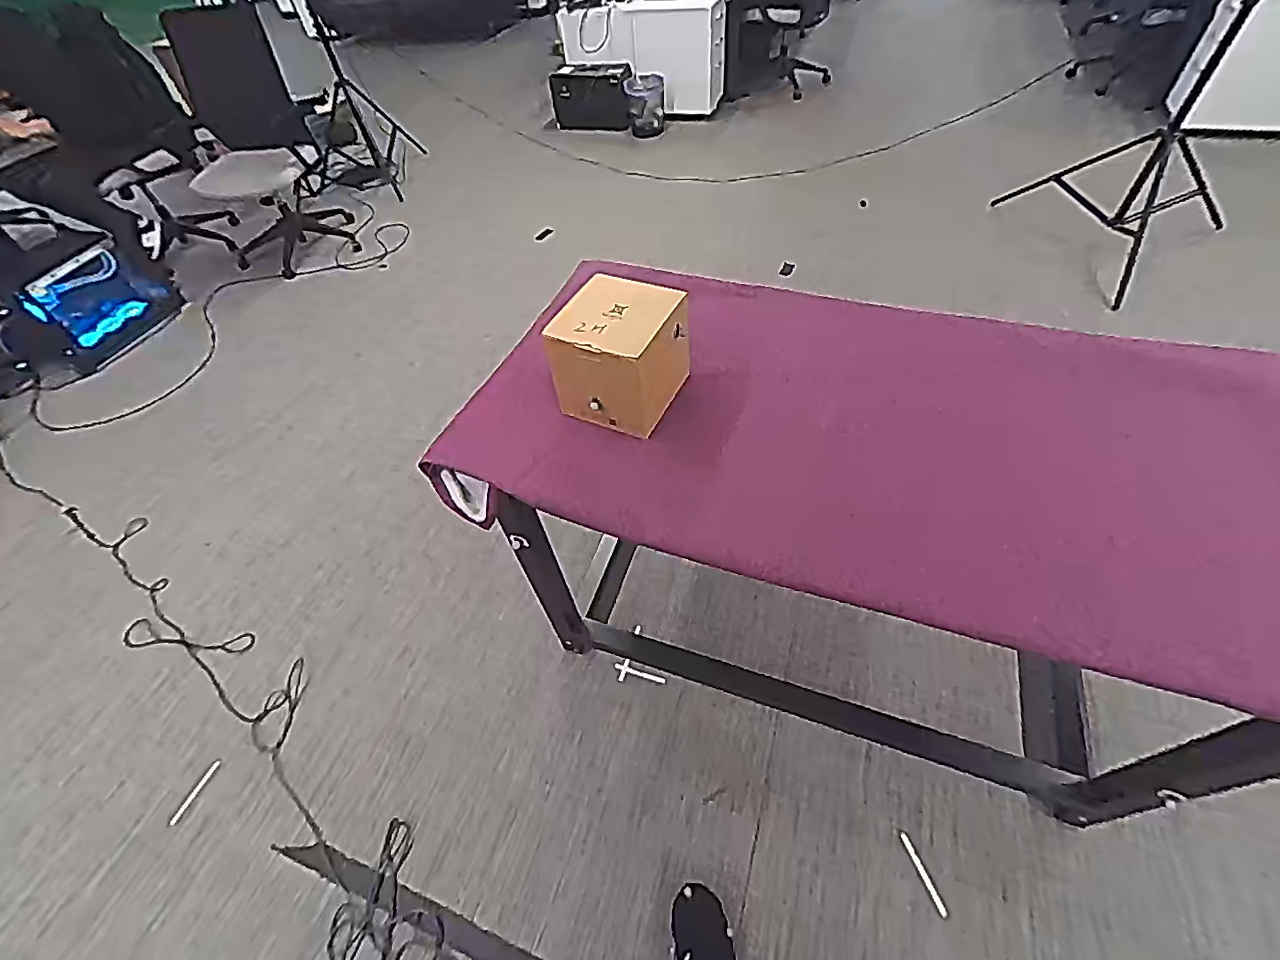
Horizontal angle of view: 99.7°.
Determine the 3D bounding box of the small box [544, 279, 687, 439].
[{"bbox_3d":[-0.032,-0.199,0.891,0.168,0.176,0.179,19,56,20],"label":"small box"}]
